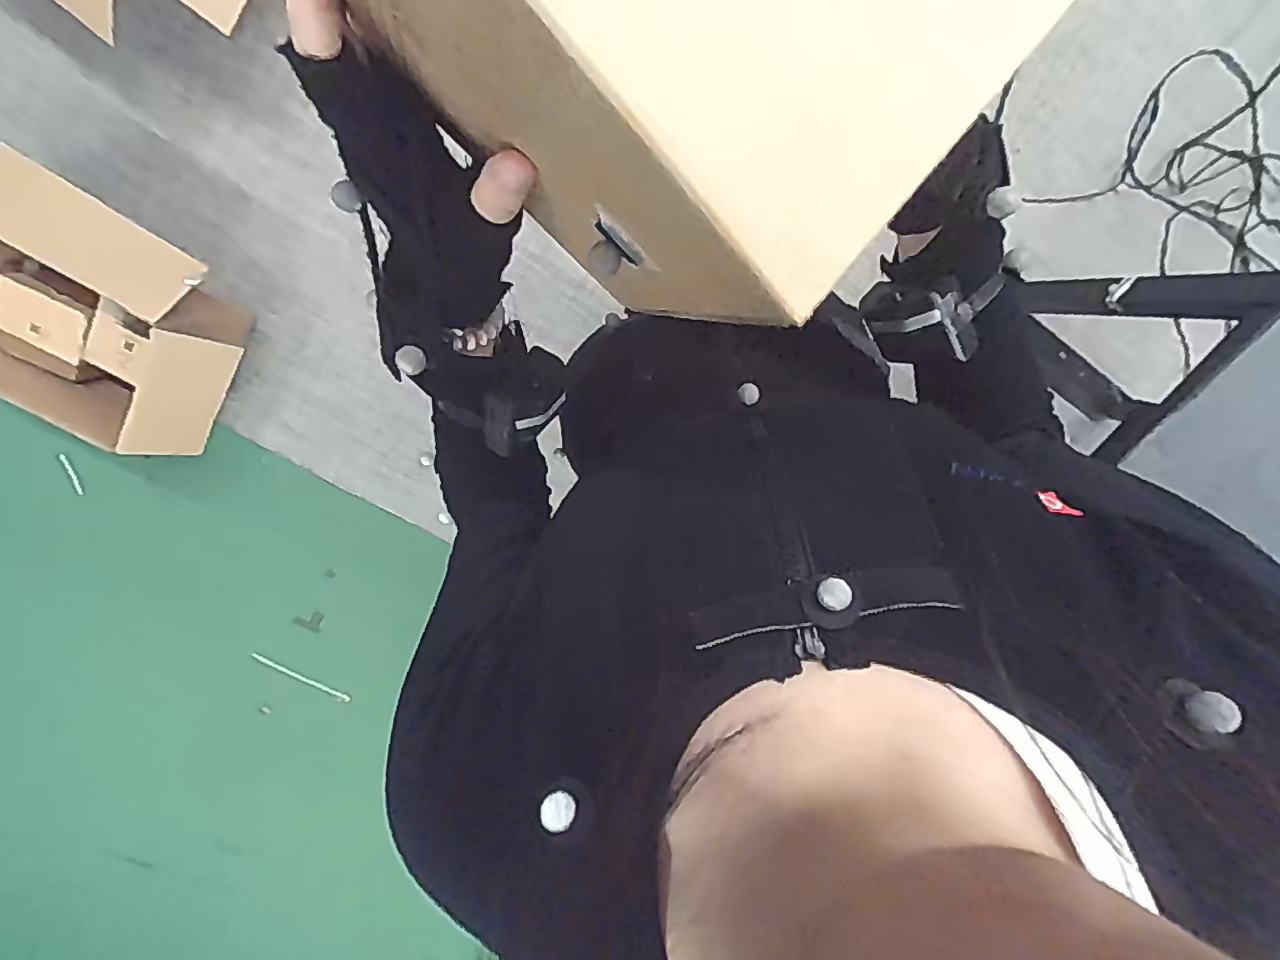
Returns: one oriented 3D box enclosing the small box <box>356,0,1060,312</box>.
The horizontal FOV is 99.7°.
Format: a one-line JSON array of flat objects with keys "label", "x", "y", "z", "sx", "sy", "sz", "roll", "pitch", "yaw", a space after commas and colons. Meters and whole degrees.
[{"label": "small box", "x": 0.016, "y": -0.181, "z": 0.190, "sx": 0.176, "sy": 0.179, "sz": 0.168, "roll": 39, "pitch": 92, "yaw": -24}]
